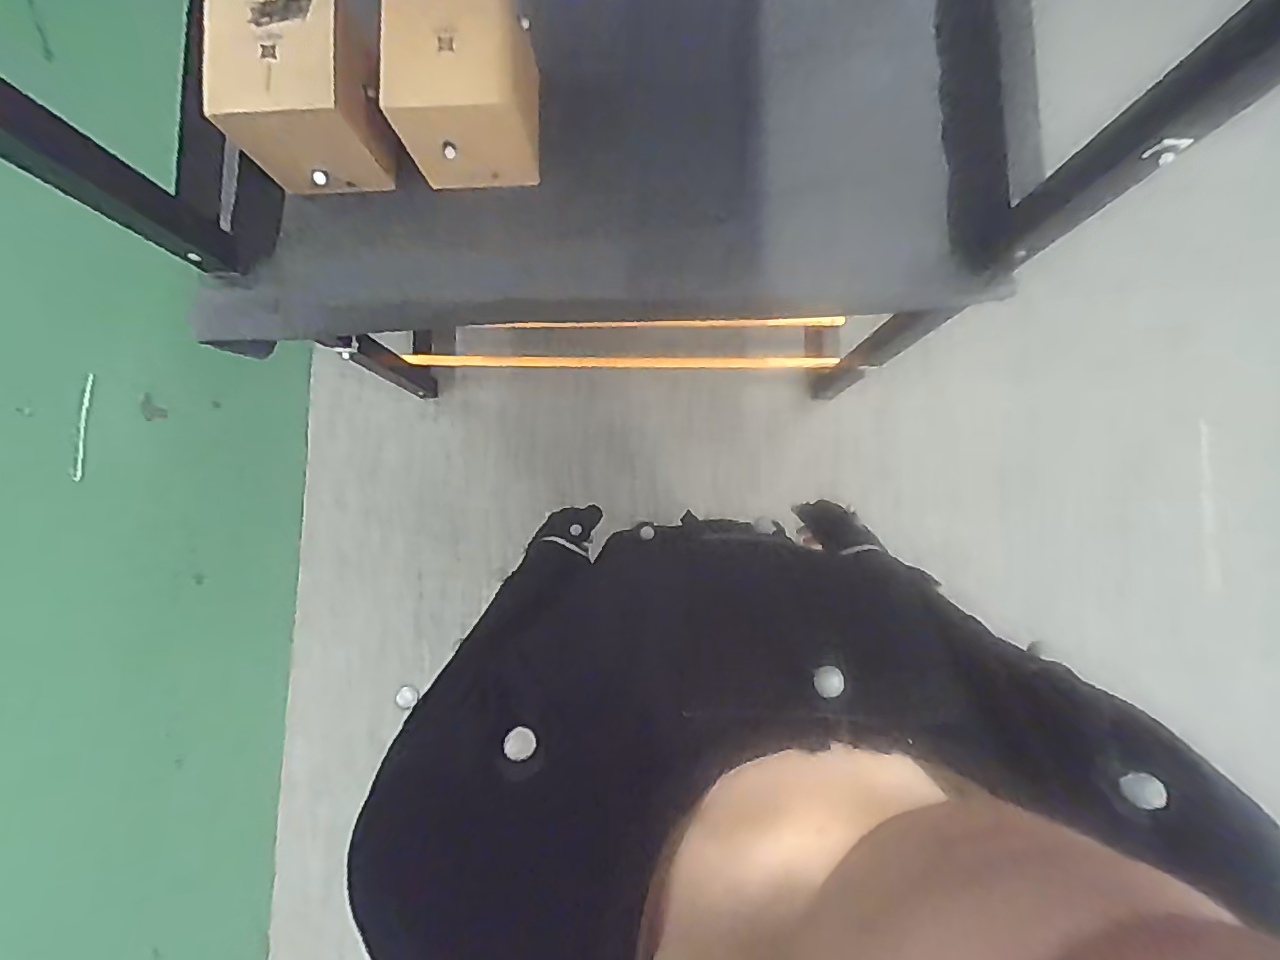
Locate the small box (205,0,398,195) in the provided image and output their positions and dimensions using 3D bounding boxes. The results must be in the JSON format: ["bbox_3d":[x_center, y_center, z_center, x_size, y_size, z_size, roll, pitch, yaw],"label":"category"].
[{"bbox_3d":[-0.454,-0.529,0.751,0.168,0.176,0.179,-2,85,1],"label":"small box"}]
